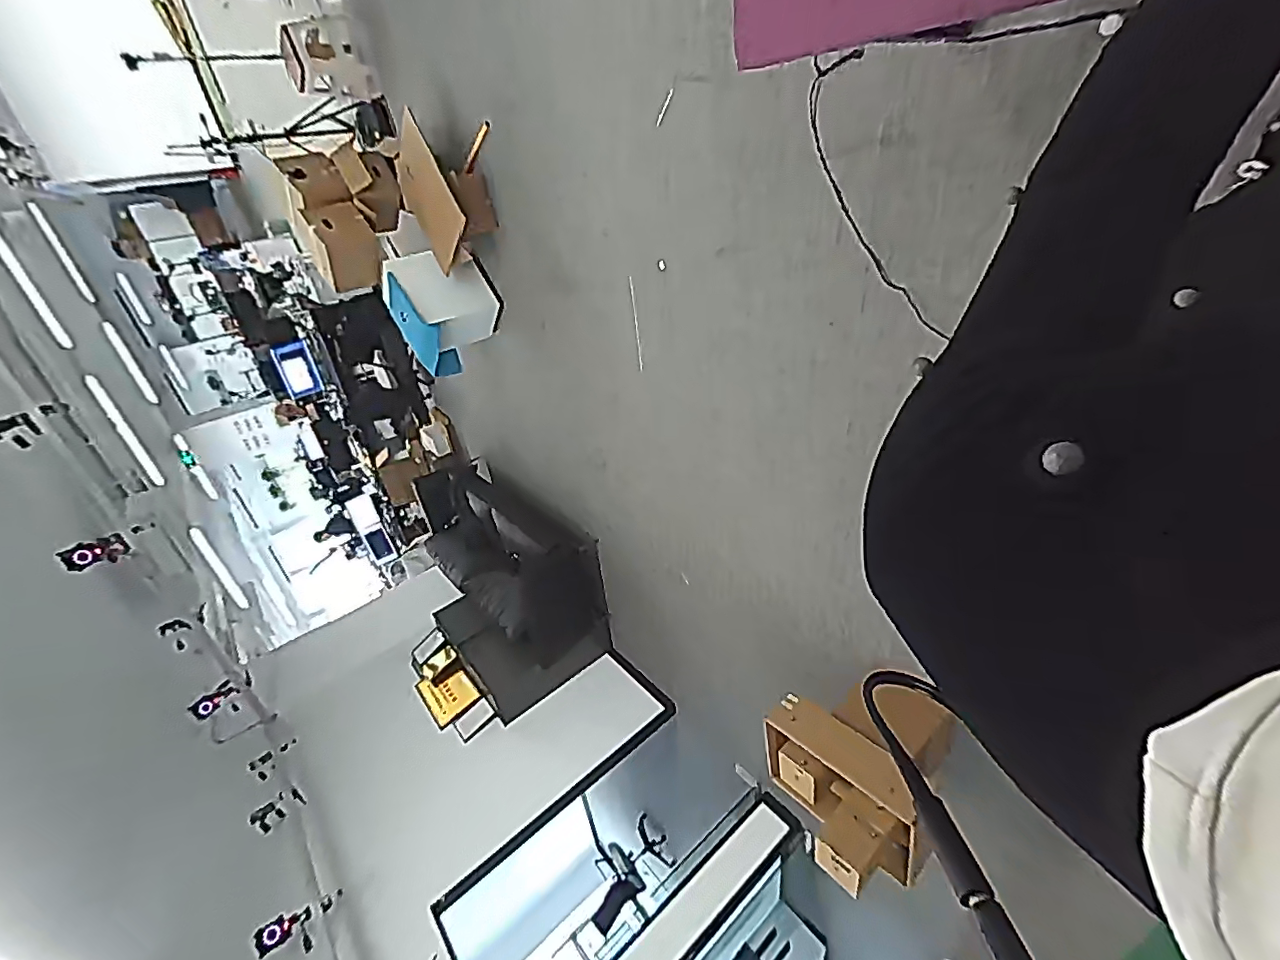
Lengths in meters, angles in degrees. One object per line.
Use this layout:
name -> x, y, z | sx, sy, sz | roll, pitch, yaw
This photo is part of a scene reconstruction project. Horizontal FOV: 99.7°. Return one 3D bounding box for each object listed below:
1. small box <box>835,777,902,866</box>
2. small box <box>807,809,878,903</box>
small box -> 0.825, 1.225, 1.952 | 0.168, 0.176, 0.179 | 21, 131, 47
small box -> 0.700, 1.292, 1.869 | 0.168, 0.176, 0.179 | 26, 135, 44
